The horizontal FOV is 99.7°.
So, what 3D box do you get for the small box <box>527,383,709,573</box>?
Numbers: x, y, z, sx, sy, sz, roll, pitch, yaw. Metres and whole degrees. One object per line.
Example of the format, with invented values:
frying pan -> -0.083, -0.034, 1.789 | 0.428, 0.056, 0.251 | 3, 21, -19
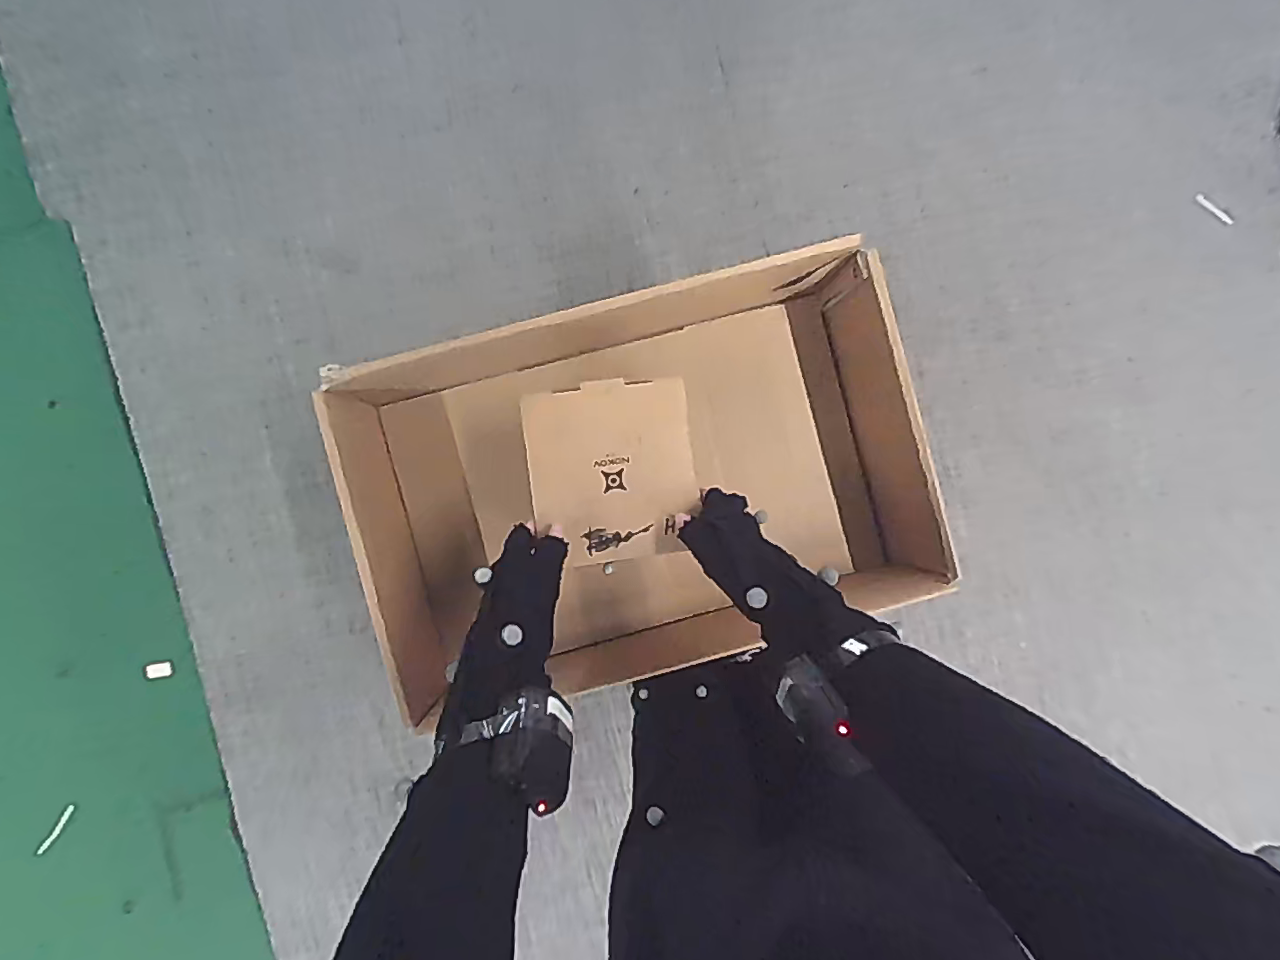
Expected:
small box -> -0.027, 0.005, 0.614 | 0.168, 0.176, 0.179 | -8, 85, -3
